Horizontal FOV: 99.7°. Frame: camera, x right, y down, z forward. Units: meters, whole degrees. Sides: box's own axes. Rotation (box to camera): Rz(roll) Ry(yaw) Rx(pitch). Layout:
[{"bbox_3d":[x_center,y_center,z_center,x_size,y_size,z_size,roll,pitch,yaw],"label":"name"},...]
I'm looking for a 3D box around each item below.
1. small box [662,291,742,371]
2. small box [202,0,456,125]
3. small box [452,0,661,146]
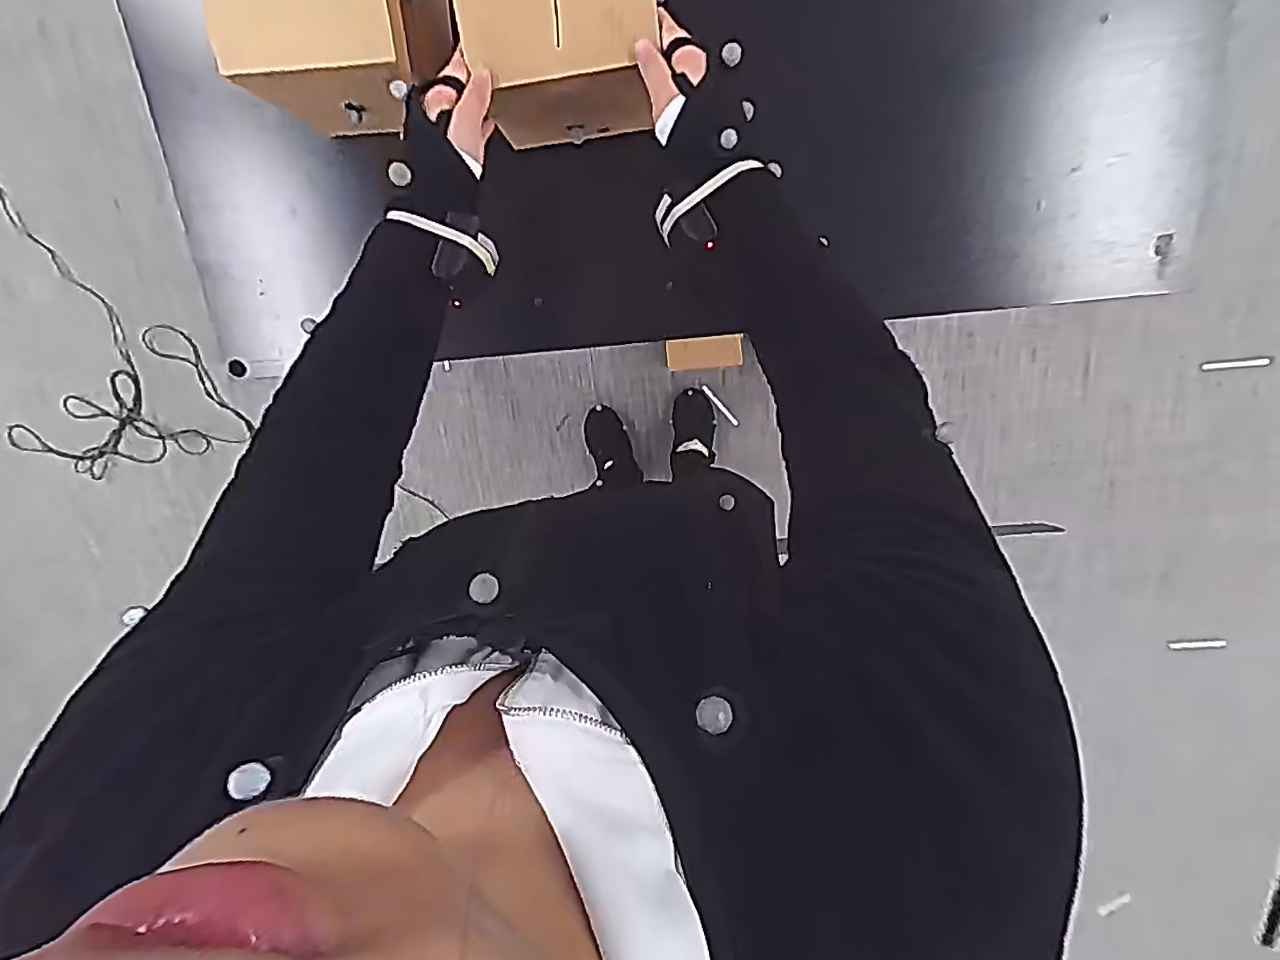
[{"bbox_3d":[0.145,-0.360,1.305,0.179,0.176,0.168,-5,105,5],"label":"small box"},{"bbox_3d":[-0.297,-0.473,0.534,0.168,0.176,0.179,-2,106,2],"label":"small box"},{"bbox_3d":[-0.074,-0.442,0.502,0.168,0.176,0.179,-7,107,3],"label":"small box"}]
